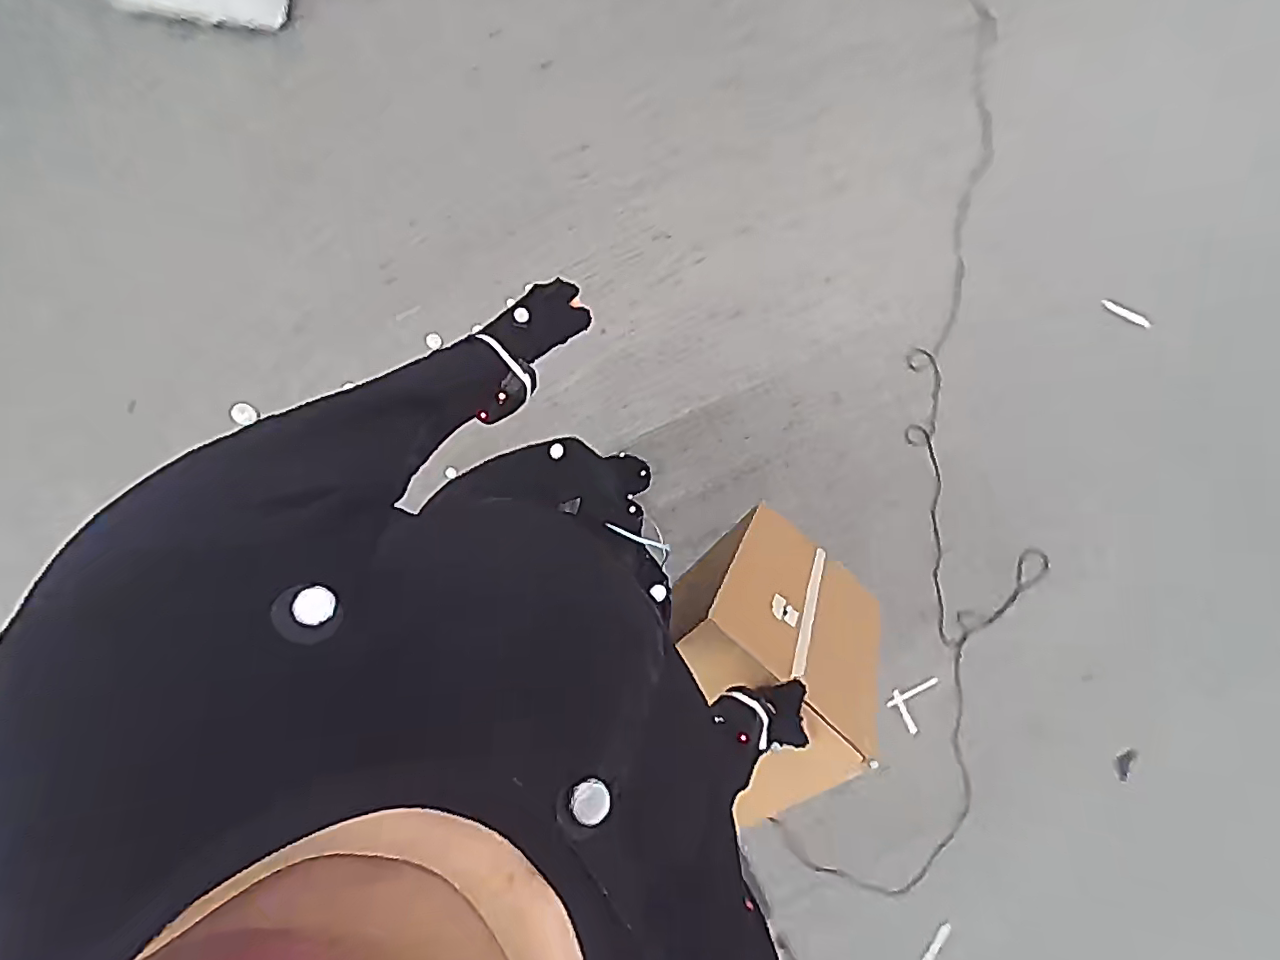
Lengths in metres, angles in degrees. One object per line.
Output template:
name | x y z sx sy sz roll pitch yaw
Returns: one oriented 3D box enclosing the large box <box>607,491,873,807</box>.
large box | 0.203 0.296 1.014 0.320 0.408 0.320 40 125 1
